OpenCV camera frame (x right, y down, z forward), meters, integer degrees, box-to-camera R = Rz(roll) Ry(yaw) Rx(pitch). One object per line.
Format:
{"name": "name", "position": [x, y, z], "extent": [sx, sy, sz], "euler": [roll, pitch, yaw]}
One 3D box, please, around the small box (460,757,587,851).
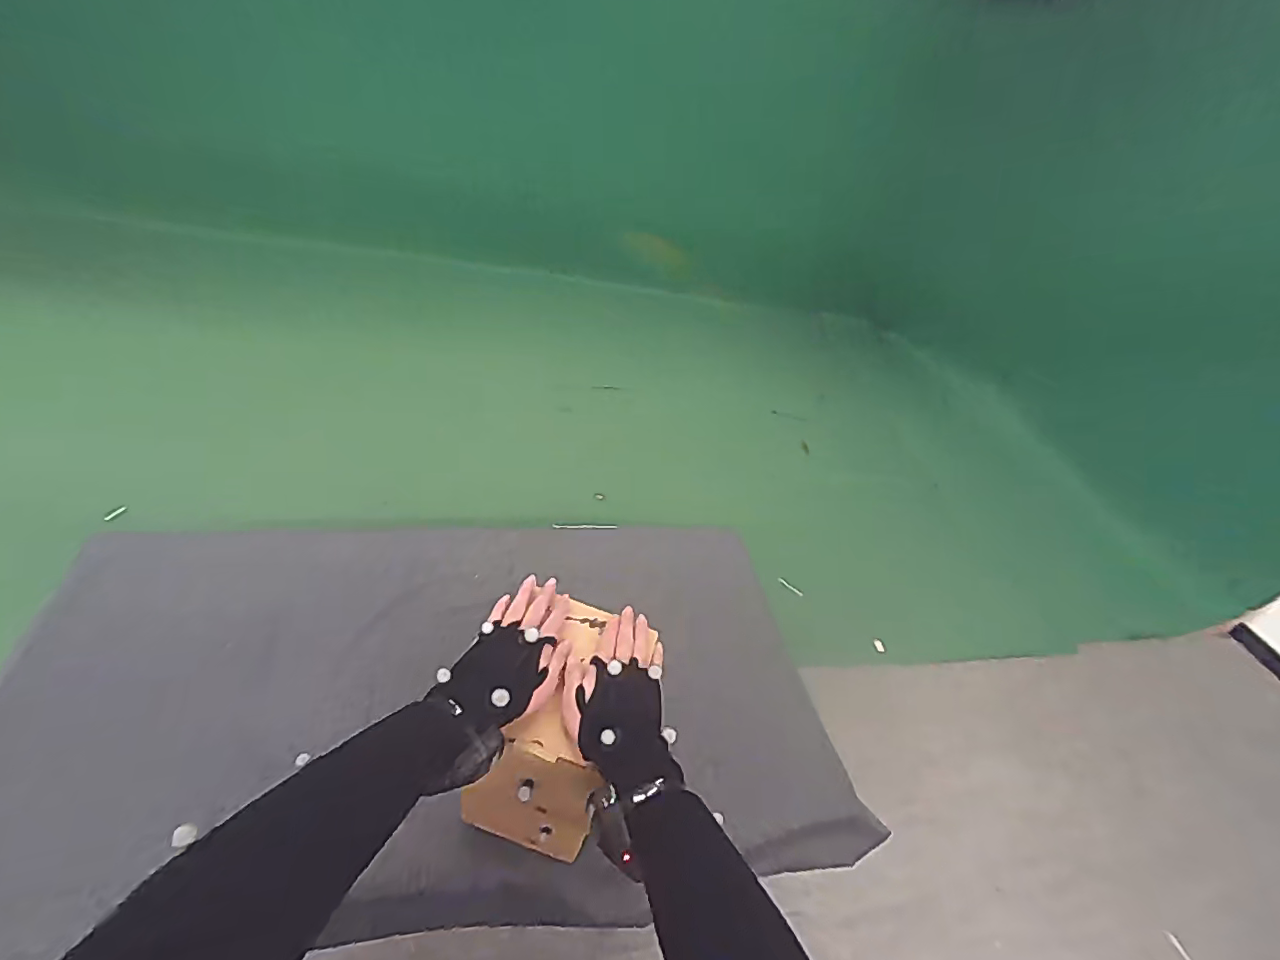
{"name": "small box", "position": [-0.129, 0.371, 0.745], "extent": [0.168, 0.176, 0.179], "euler": [19, 39, 3]}

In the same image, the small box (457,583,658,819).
{"name": "small box", "position": [-0.093, 0.260, 0.632], "extent": [0.168, 0.176, 0.179], "euler": [20, 42, 3]}
